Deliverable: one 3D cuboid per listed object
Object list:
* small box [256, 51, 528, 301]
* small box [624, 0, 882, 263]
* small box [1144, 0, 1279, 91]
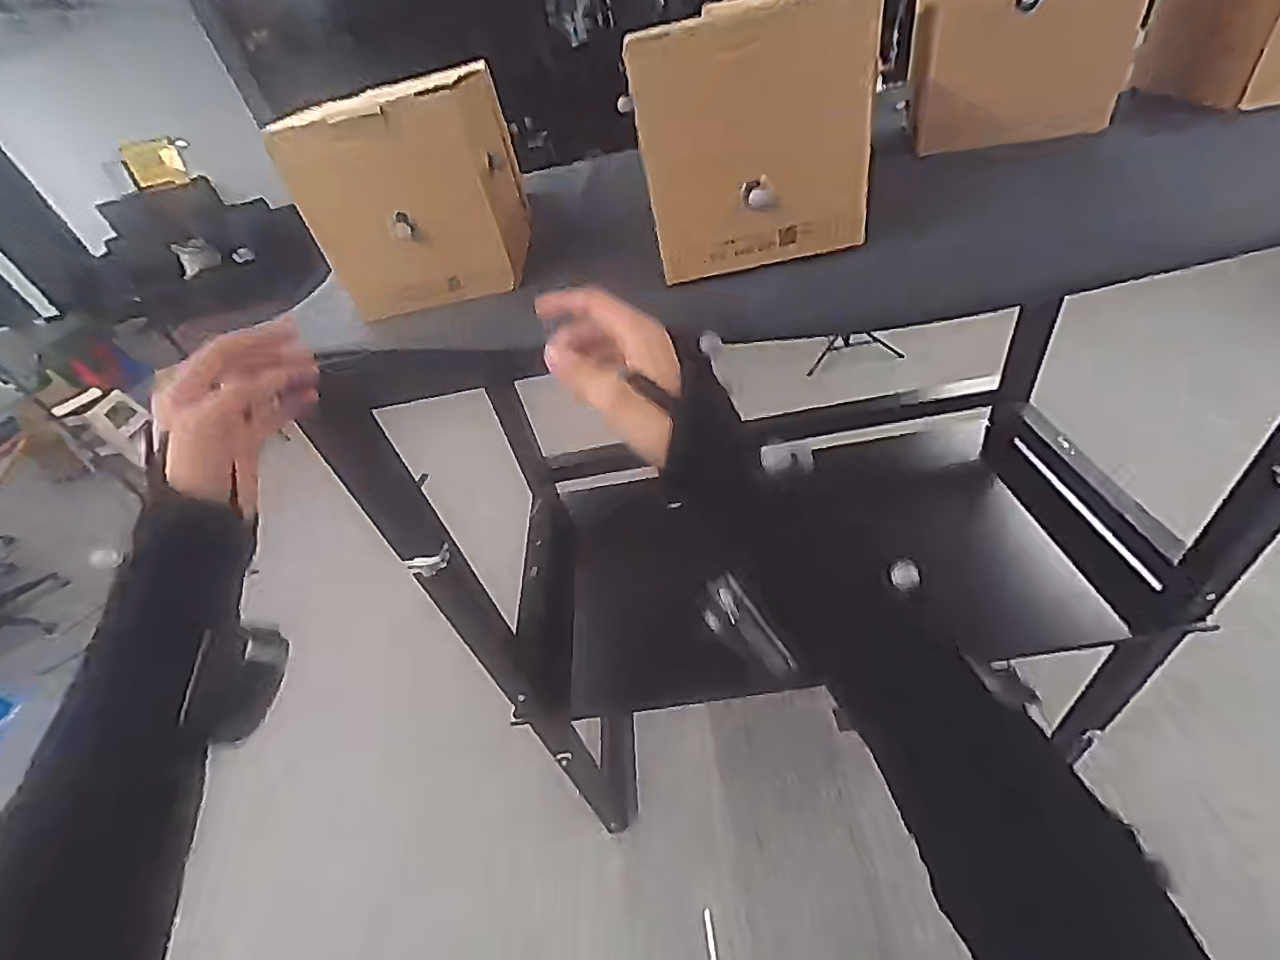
[{"bbox_3d":[-0.217,-0.293,0.535,0.168,0.176,0.179,-11,42,3],"label":"small box"},{"bbox_3d":[0.087,-0.303,0.455,0.168,0.176,0.179,-9,40,8],"label":"small box"},{"bbox_3d":[0.640,-0.486,0.506,0.168,0.176,0.179,-7,42,10],"label":"small box"}]
